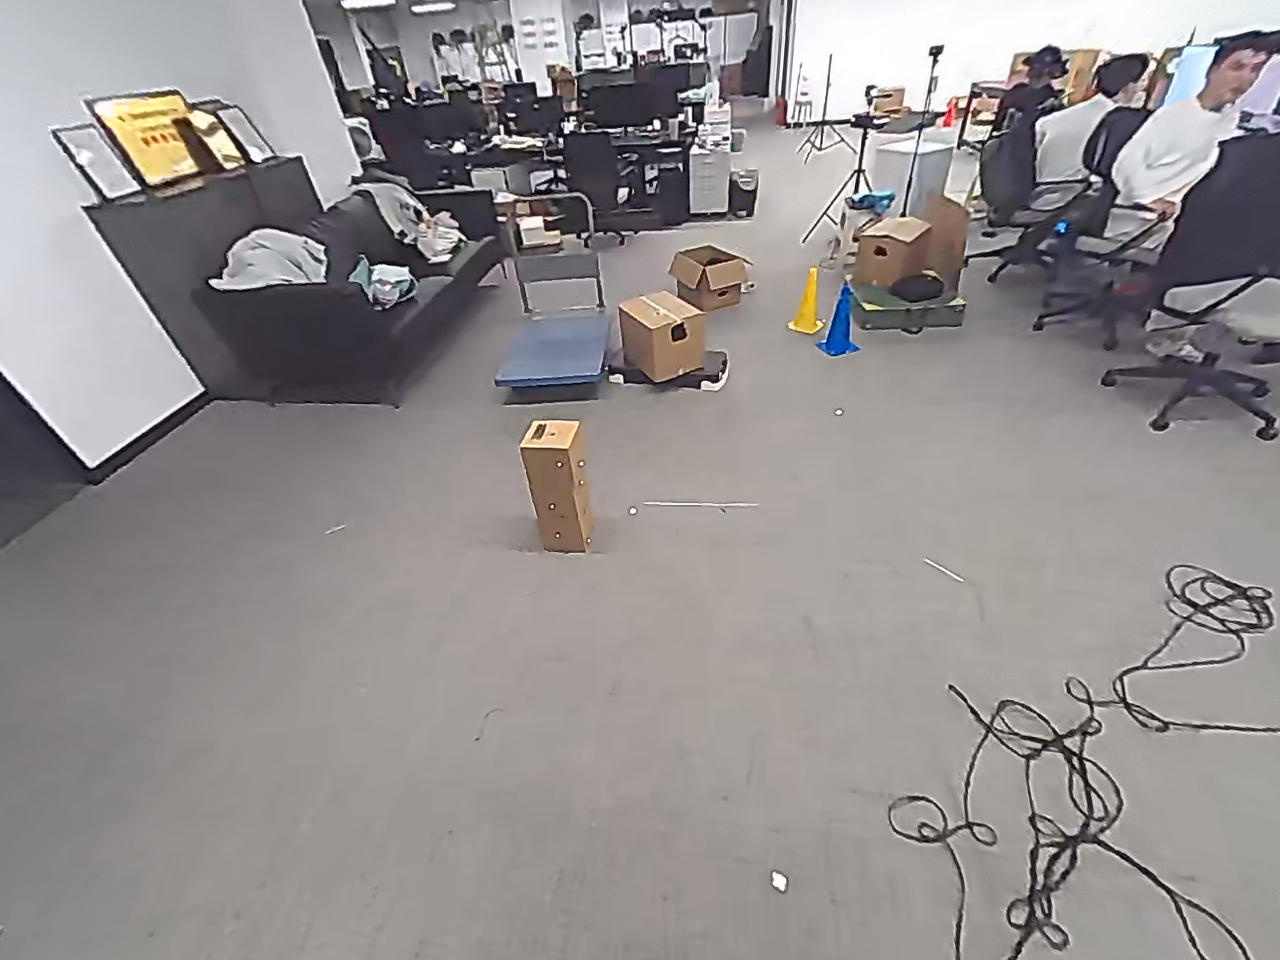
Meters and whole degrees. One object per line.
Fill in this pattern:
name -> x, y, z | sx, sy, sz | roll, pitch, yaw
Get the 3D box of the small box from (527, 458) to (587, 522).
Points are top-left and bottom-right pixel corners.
small box -> -0.299, 0.038, 2.007 | 0.168, 0.176, 0.179 | 2, 39, 9

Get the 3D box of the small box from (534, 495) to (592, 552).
small box -> -0.292, 0.166, 2.110 | 0.179, 0.176, 0.168 | 1, 39, 10
